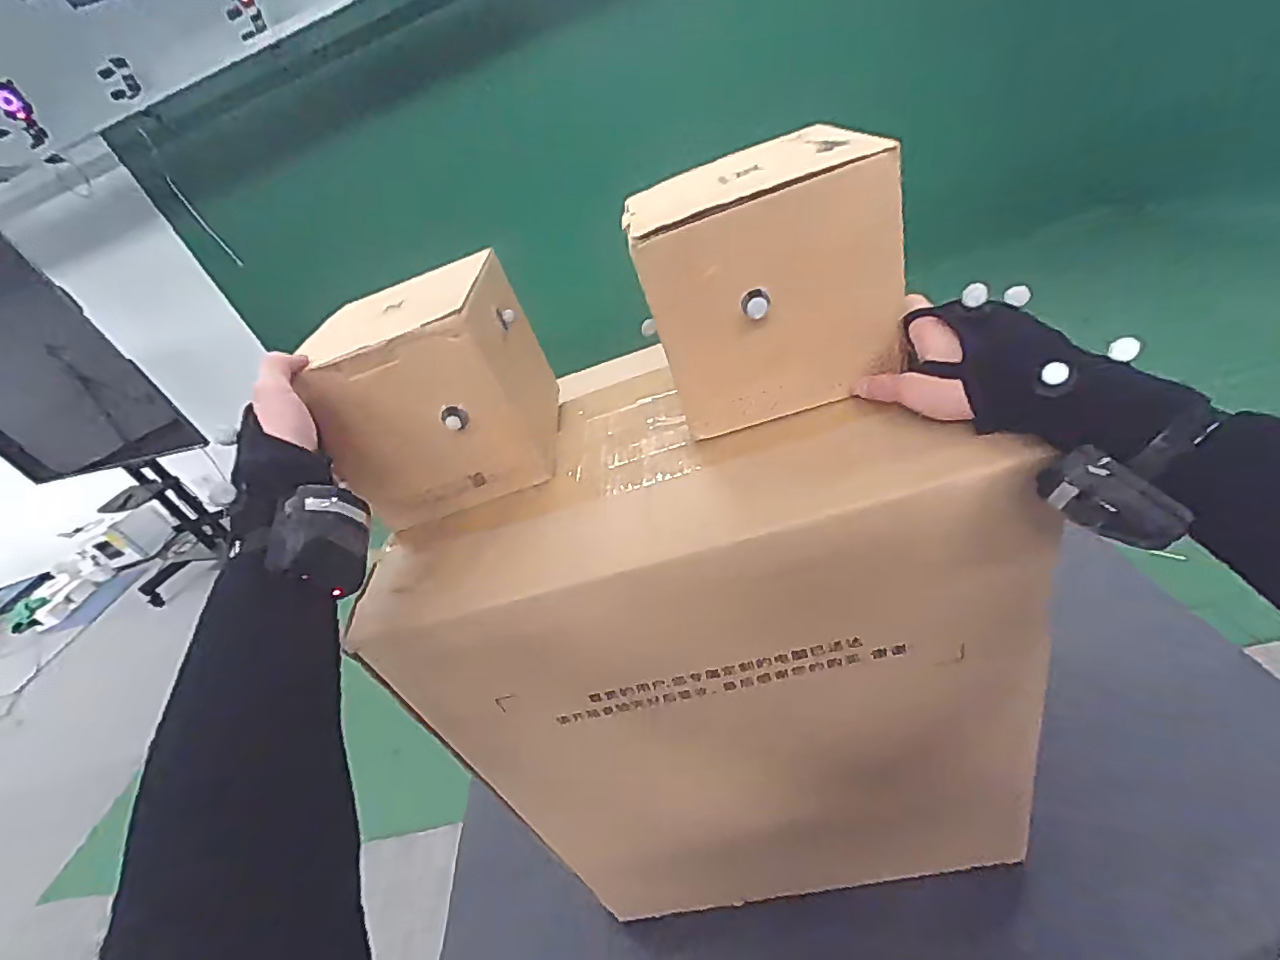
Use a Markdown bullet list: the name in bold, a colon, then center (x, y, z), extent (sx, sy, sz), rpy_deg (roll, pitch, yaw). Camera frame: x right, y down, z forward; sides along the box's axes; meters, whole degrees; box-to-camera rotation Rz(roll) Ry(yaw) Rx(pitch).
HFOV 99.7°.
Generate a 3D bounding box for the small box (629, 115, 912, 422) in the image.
- **small box**: center (0.101, -0.171, 0.444), extent (0.179, 0.176, 0.168), rpy_deg (-17, 35, 8)

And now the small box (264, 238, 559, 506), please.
- **small box**: center (-0.181, -0.094, 0.498), extent (0.168, 0.176, 0.179), rpy_deg (-16, 35, 6)
